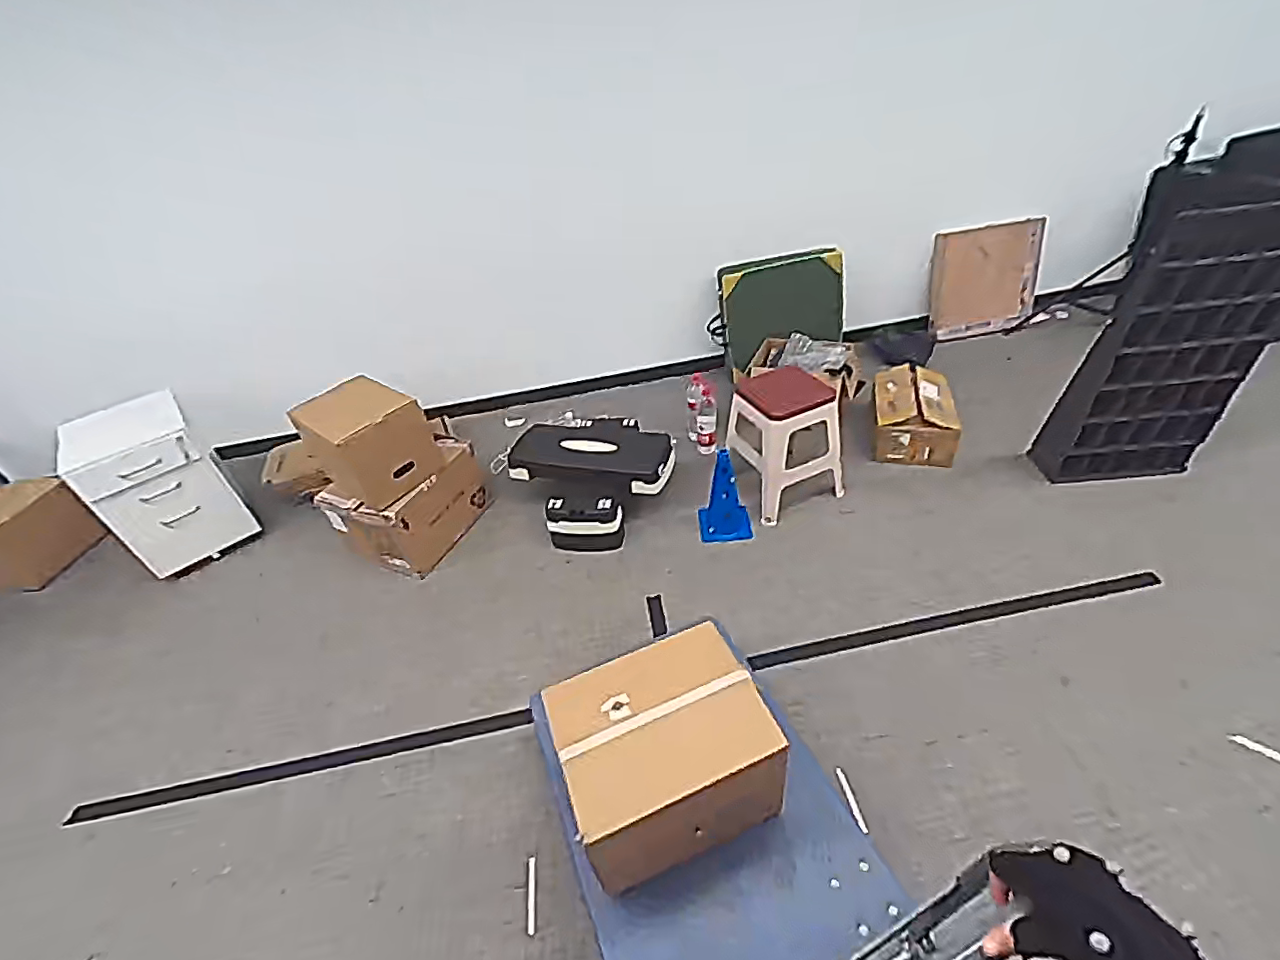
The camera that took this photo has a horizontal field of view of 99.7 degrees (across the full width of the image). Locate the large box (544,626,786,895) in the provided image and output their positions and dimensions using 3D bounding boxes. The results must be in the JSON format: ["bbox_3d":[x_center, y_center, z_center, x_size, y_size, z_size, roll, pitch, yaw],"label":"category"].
[{"bbox_3d":[0.055,0.591,1.161,0.408,0.320,0.320,-20,39,-12],"label":"large box"}]
